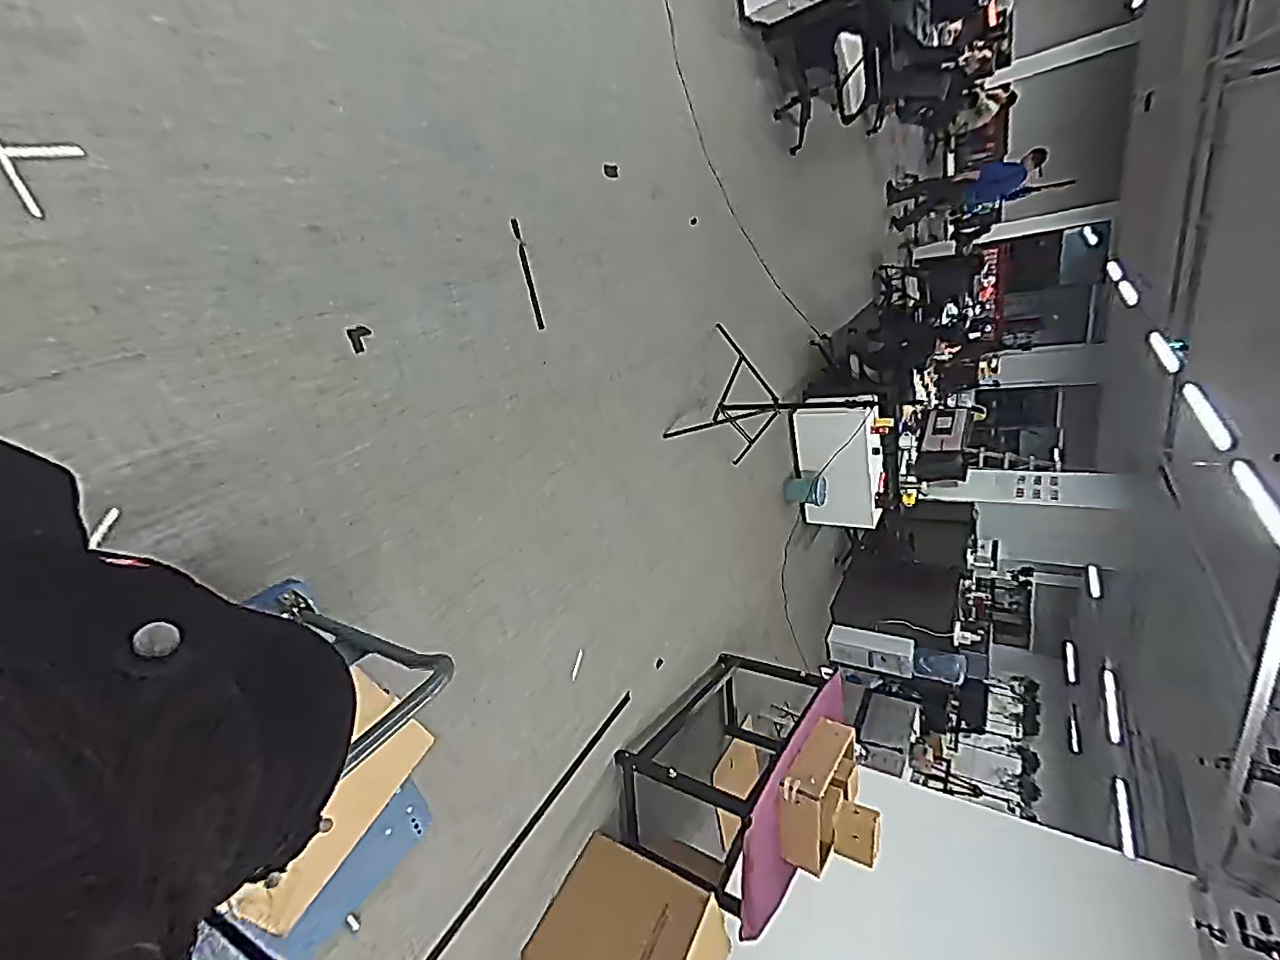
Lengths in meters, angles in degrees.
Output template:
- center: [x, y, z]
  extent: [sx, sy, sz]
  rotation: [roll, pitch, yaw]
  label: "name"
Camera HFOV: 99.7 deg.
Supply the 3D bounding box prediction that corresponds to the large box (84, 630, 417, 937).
- center: [-0.766, 0.585, 1.110]
  extent: [0.408, 0.320, 0.320]
  rotation: [-53, 132, -38]
  label: "large box"
